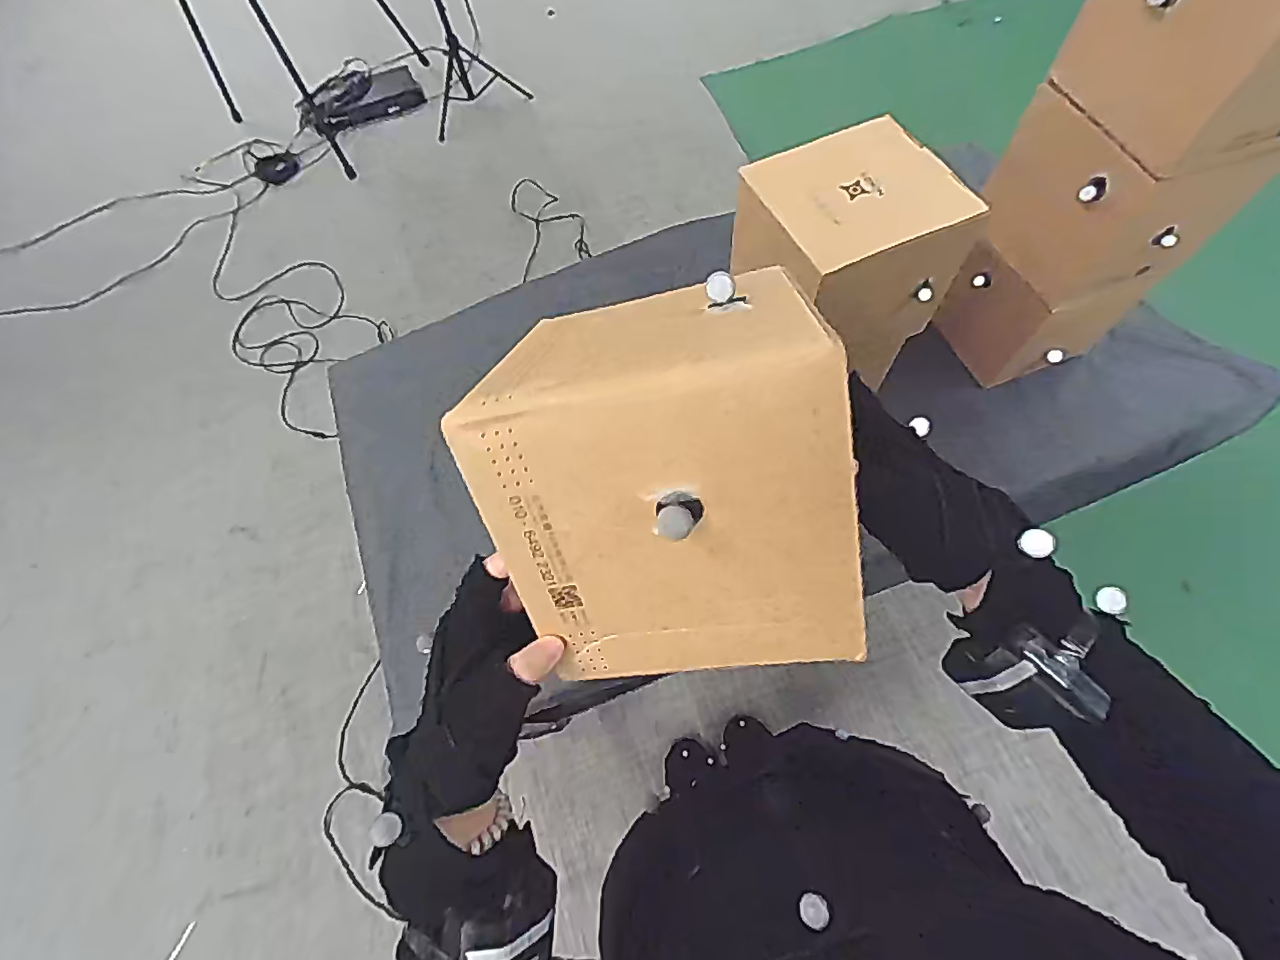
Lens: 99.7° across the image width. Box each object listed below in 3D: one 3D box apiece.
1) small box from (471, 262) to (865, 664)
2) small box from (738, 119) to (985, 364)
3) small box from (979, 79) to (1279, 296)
[{"bbox_3d":[0.022,-0.012,0.324,0.176,0.168,0.179,-10,30,13],"label":"small box"},{"bbox_3d":[0.218,-0.244,0.595,0.179,0.176,0.168,-22,64,-5],"label":"small box"},{"bbox_3d":[0.526,-0.332,0.604,0.168,0.176,0.179,-18,65,-3],"label":"small box"}]
